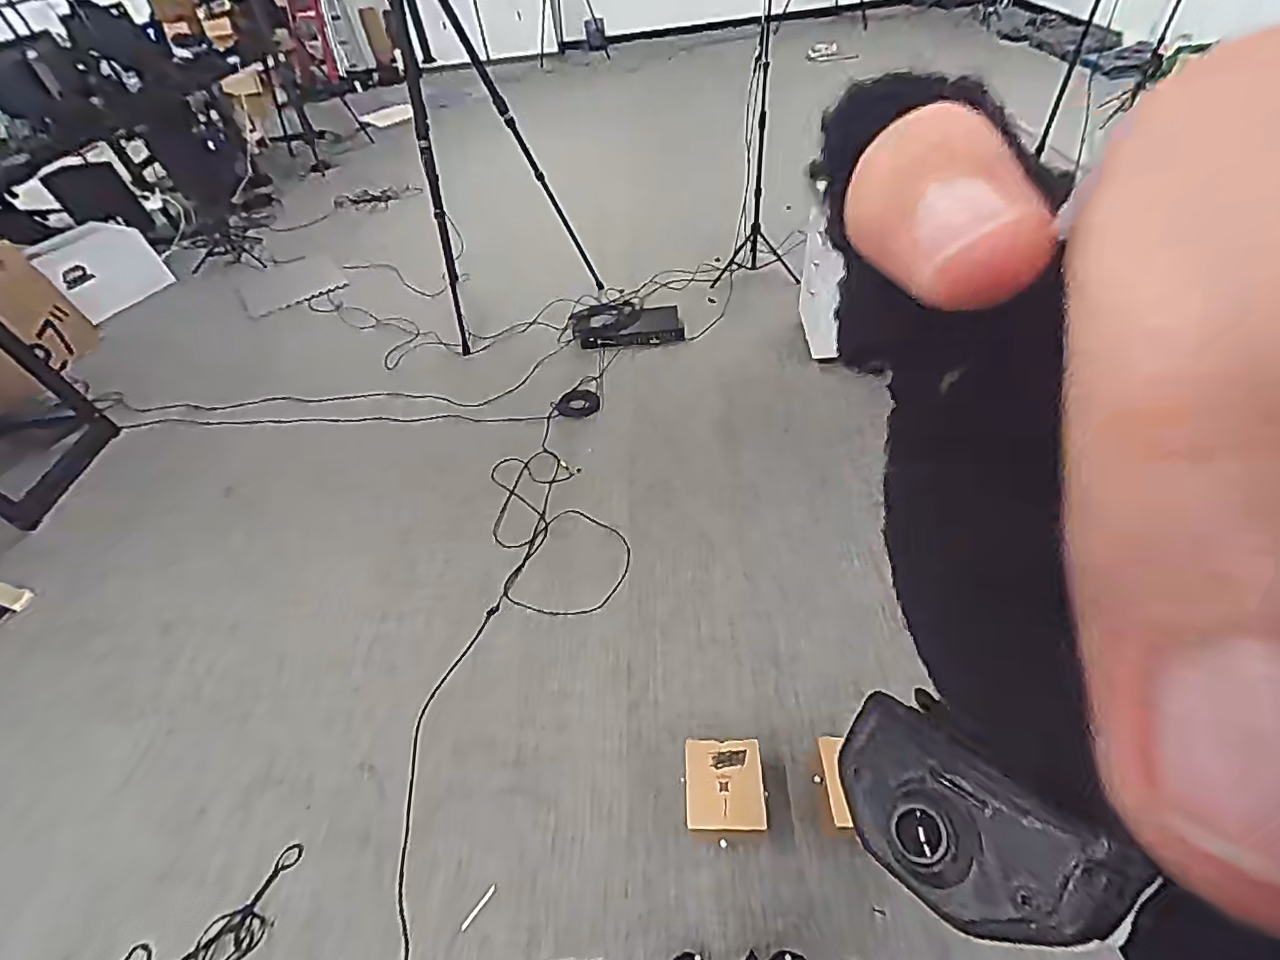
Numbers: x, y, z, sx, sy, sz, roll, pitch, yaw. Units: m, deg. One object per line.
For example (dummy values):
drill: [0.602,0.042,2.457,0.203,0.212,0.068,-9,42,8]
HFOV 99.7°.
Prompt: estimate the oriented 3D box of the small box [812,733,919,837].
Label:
small box: [0.487,0.679,1.196,0.168,0.176,0.179,-4,48,5]

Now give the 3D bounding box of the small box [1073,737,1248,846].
small box: [1.073,0.658,1.136,0.168,0.176,0.179,-3,49,4]

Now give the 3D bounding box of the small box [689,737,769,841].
small box: [0.194,0.696,1.218,0.168,0.176,0.179,-3,50,6]
